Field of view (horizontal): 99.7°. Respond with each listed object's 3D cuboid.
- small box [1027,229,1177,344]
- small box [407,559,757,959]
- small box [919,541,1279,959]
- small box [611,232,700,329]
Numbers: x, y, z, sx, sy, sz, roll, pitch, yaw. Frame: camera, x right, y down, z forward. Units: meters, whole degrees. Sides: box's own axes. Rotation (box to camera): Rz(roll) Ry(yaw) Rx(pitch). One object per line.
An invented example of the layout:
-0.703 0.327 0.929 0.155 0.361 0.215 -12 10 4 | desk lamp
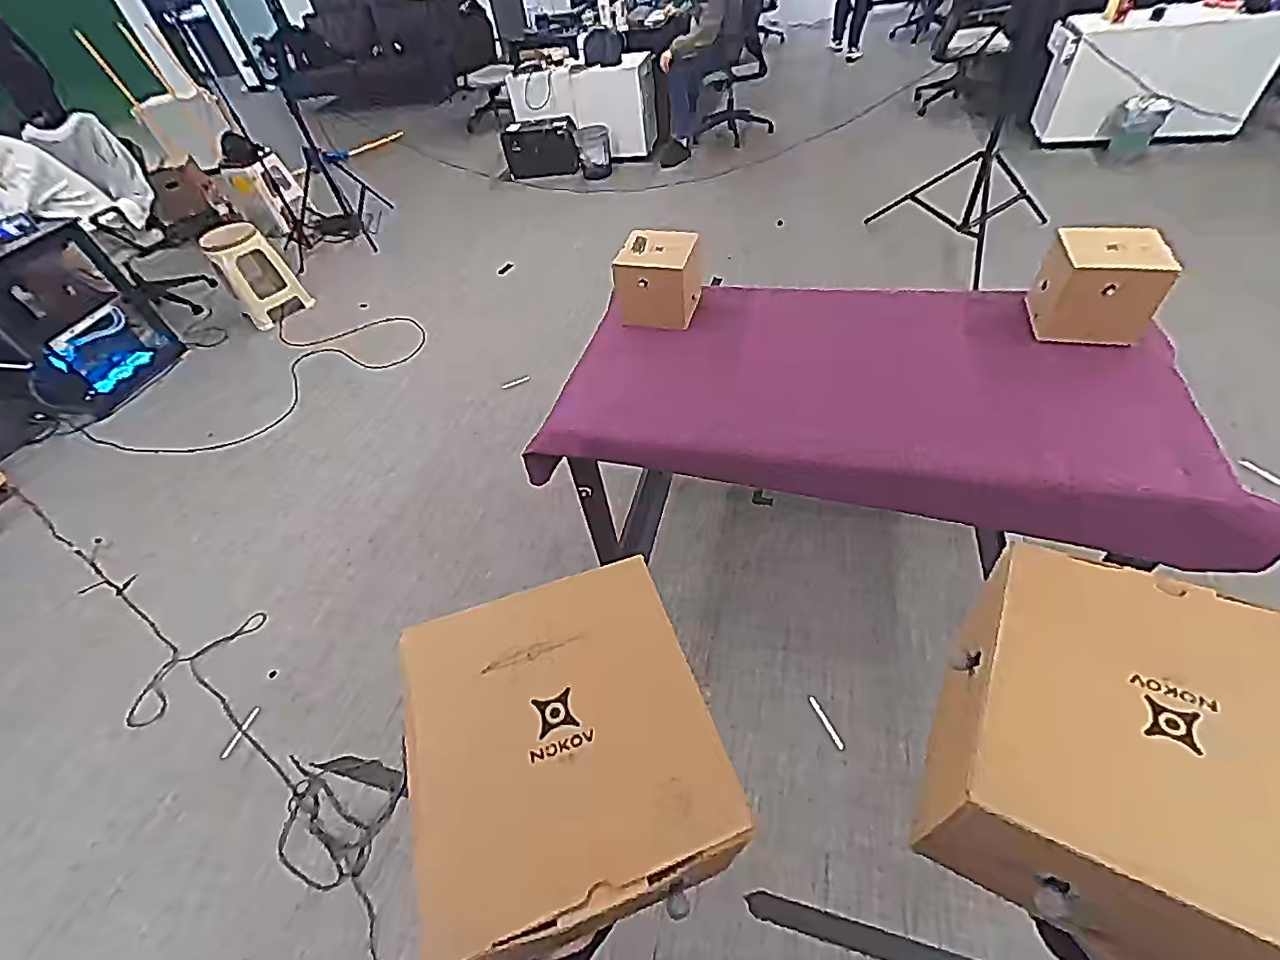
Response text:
0.935 -0.399 1.121 0.179 0.176 0.168 8 52 15 | small box
-0.042 0.189 0.367 0.168 0.176 0.179 -16 49 -13 | small box
0.291 0.175 0.340 0.168 0.176 0.179 17 54 26 | small box
0.045 -0.495 1.347 0.179 0.176 0.168 10 53 16 | small box
